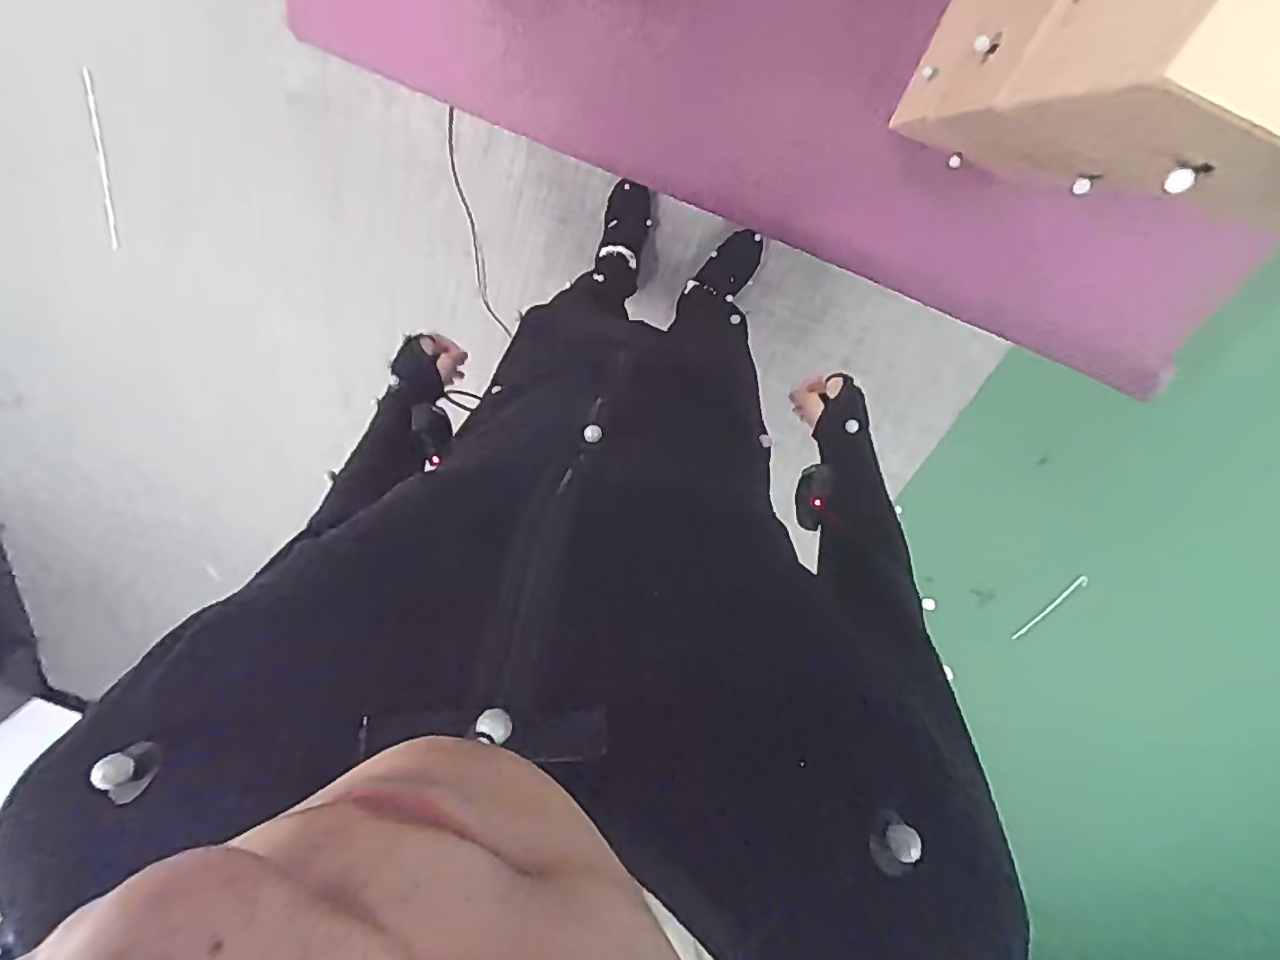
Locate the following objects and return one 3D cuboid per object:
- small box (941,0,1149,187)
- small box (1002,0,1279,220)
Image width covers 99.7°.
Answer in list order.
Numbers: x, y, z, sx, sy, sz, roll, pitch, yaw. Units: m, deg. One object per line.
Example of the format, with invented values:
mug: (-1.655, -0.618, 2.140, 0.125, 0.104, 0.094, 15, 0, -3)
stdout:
small box: (0.348, -0.328, 0.385, 0.168, 0.176, 0.179, 22, 121, -2)
small box: (0.326, -0.235, 0.251, 0.179, 0.176, 0.168, 24, 121, -3)
